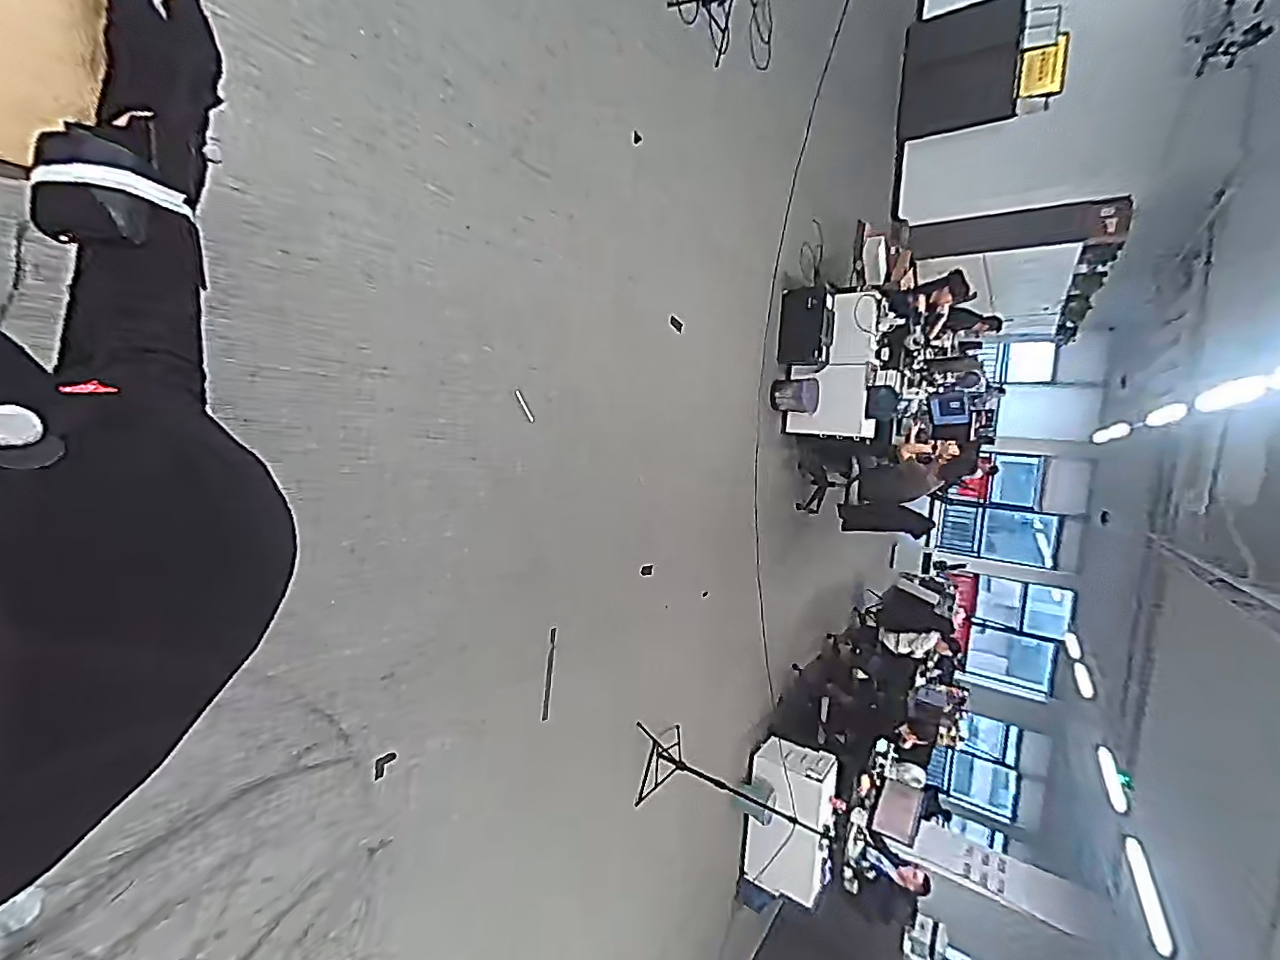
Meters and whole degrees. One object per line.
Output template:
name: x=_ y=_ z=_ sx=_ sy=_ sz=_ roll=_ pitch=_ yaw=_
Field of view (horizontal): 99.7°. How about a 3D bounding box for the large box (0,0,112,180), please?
large box: x=-0.609 y=-0.405 z=0.292 sx=0.408 sy=0.320 sz=0.320 roll=-8 pitch=115 yaw=-59
